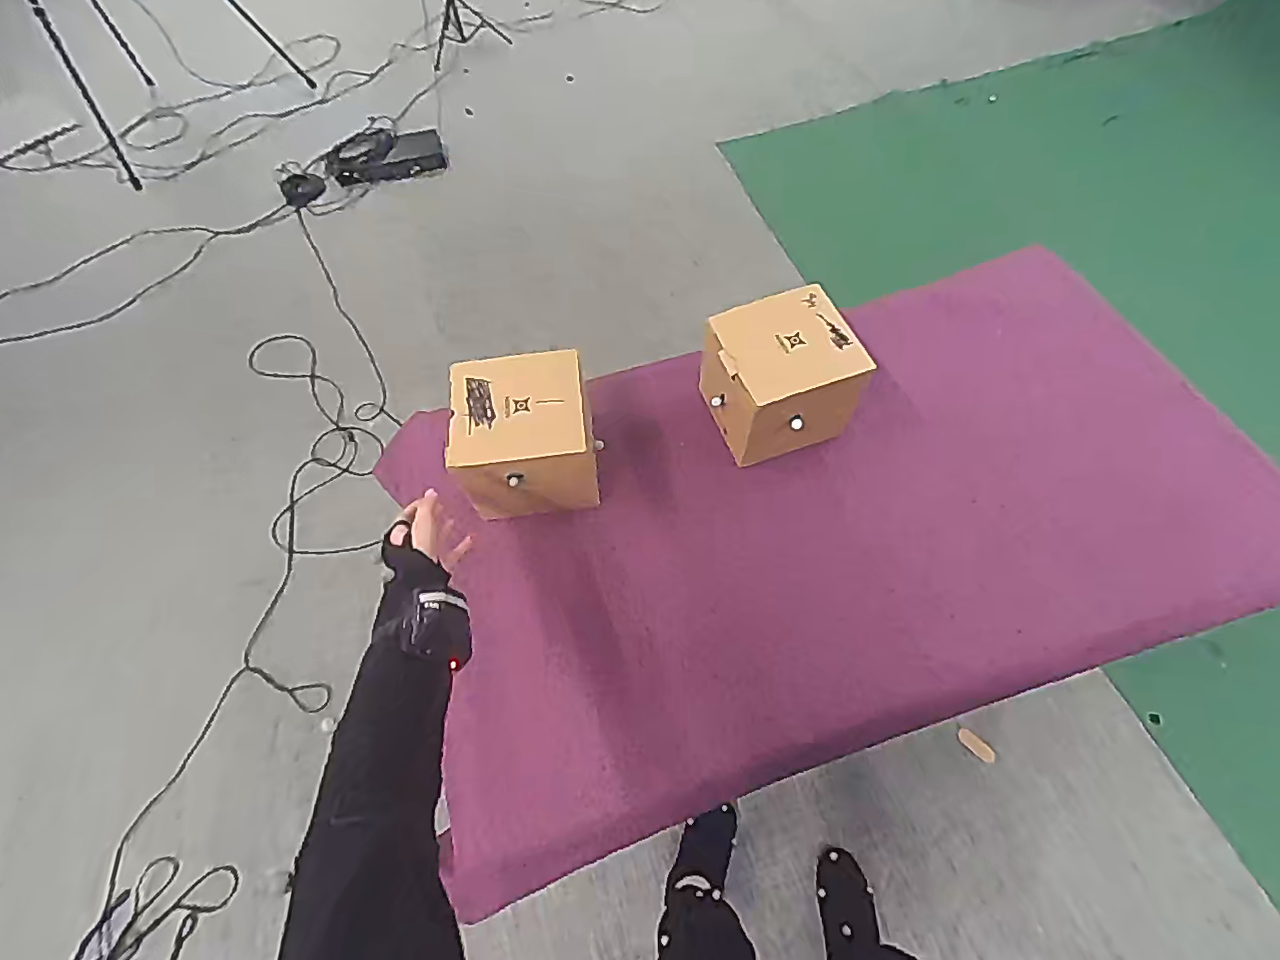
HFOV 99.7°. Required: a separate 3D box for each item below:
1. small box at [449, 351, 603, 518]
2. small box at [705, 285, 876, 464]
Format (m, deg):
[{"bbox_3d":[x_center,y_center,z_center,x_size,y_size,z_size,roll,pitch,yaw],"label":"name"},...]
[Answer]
[{"bbox_3d":[-0.153,-0.056,0.766,0.179,0.176,0.168,-7,63,-2],"label":"small box"},{"bbox_3d":[0.205,-0.146,0.794,0.179,0.176,0.168,-19,65,-6],"label":"small box"}]
